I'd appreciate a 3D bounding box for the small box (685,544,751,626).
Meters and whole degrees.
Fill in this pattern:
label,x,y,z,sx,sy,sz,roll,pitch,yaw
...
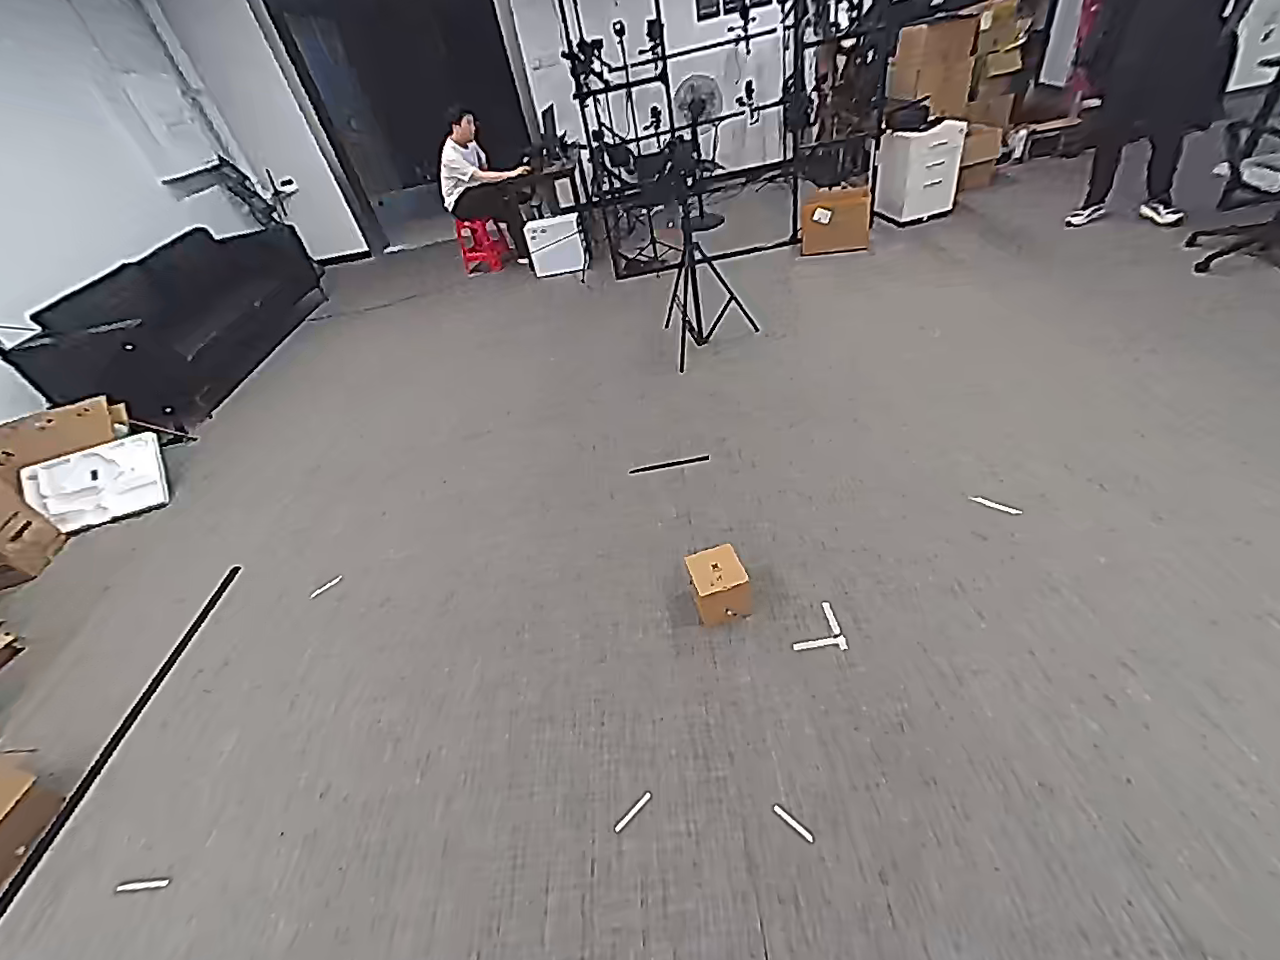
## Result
label,x,y,z,sx,sy,sz,roll,pitch,yaw
small box,0.256,0.347,1.780,0.168,0.176,0.179,-17,40,-4
